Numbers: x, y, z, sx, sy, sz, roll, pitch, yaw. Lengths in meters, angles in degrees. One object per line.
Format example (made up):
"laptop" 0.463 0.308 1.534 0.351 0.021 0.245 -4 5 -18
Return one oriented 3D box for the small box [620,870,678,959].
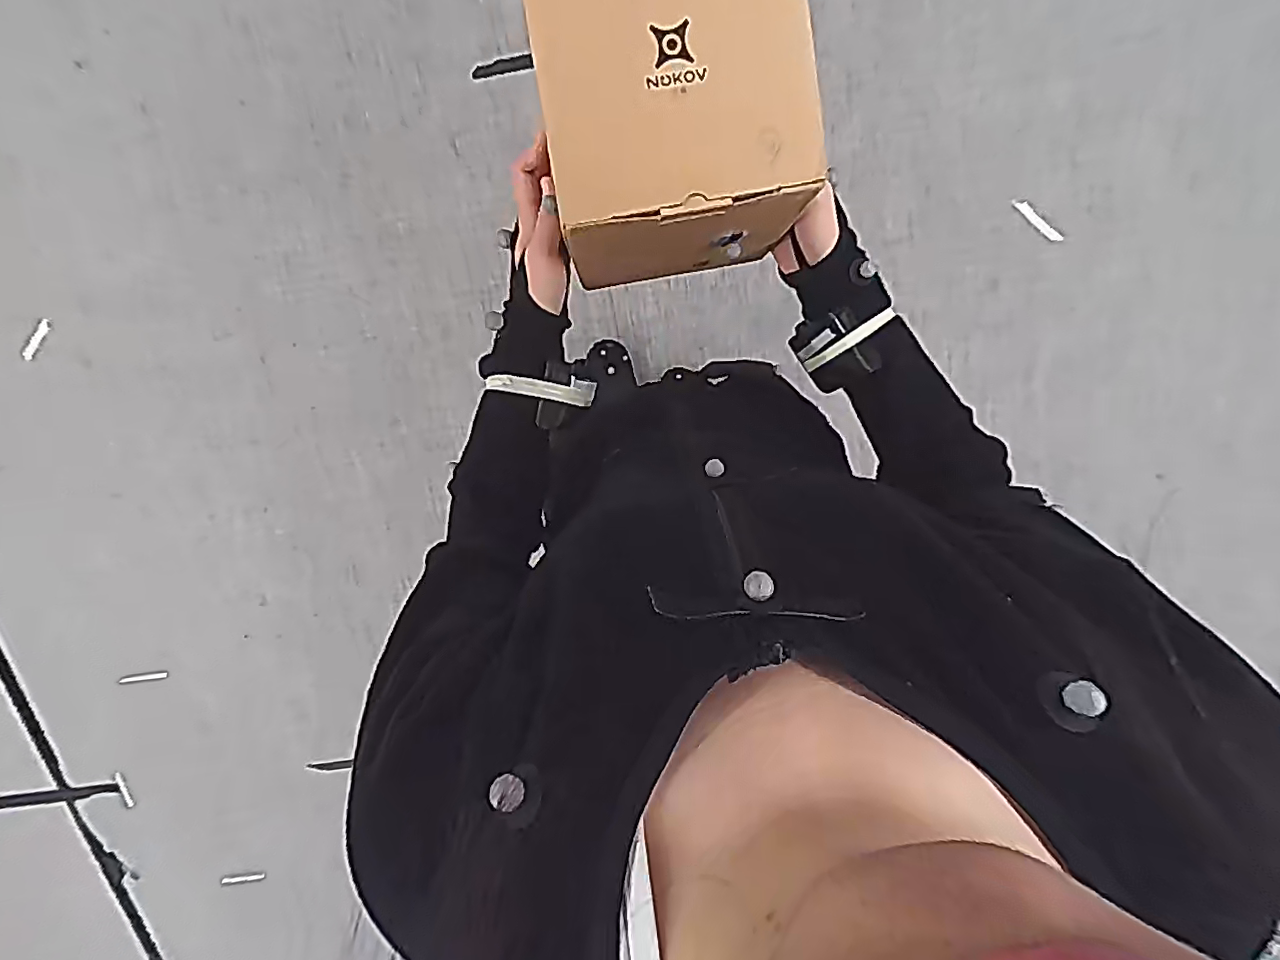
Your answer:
"small box" 0.032 1.432 1.775 0.168 0.176 0.179 -10 103 2
